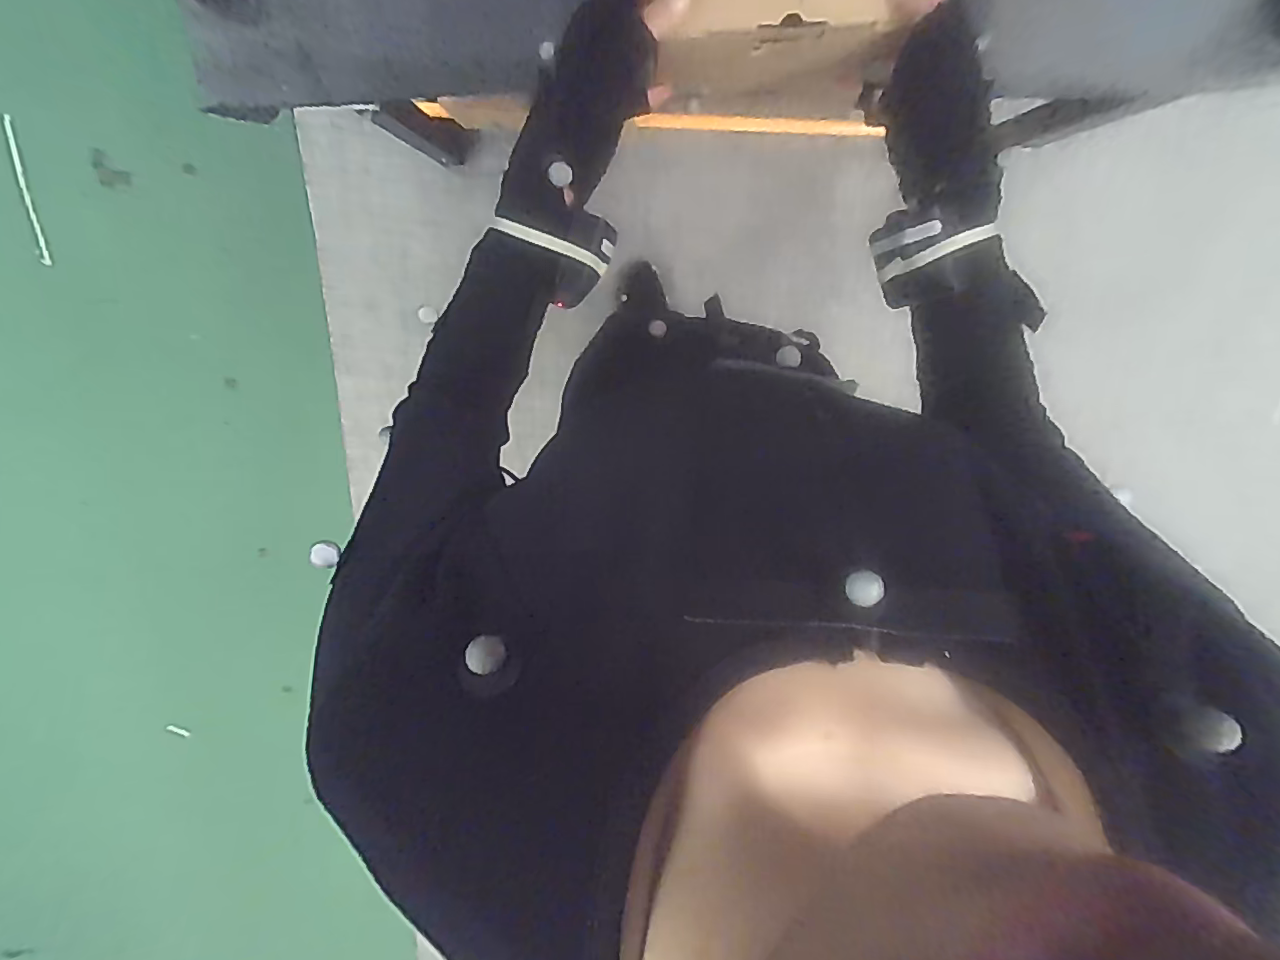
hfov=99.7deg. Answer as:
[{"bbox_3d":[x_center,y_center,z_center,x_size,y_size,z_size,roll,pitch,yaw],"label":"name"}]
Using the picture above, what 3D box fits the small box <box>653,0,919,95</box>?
[{"bbox_3d":[0.093,-0.397,0.385,0.168,0.176,0.179,-2,112,2],"label":"small box"}]
